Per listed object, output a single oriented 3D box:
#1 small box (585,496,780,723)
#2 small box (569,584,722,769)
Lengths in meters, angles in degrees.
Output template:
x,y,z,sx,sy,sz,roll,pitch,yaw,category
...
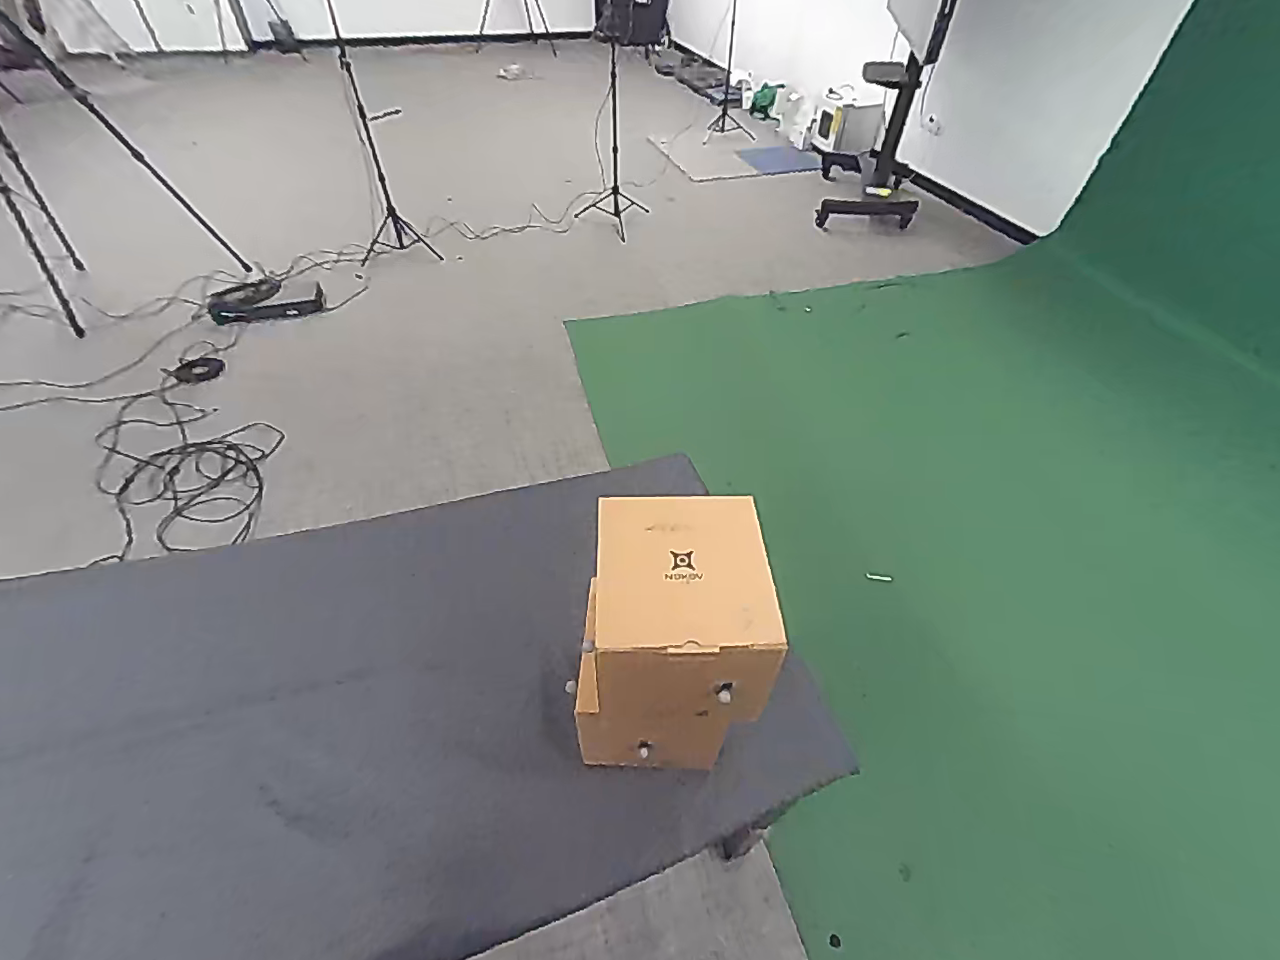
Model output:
x,y,z,sx,sy,sz,roll,pitch,yaw,category
0.032,0.137,0.557,0.168,0.176,0.179,-1,45,-3,small box
0.010,0.245,0.678,0.168,0.176,0.179,2,45,1,small box
